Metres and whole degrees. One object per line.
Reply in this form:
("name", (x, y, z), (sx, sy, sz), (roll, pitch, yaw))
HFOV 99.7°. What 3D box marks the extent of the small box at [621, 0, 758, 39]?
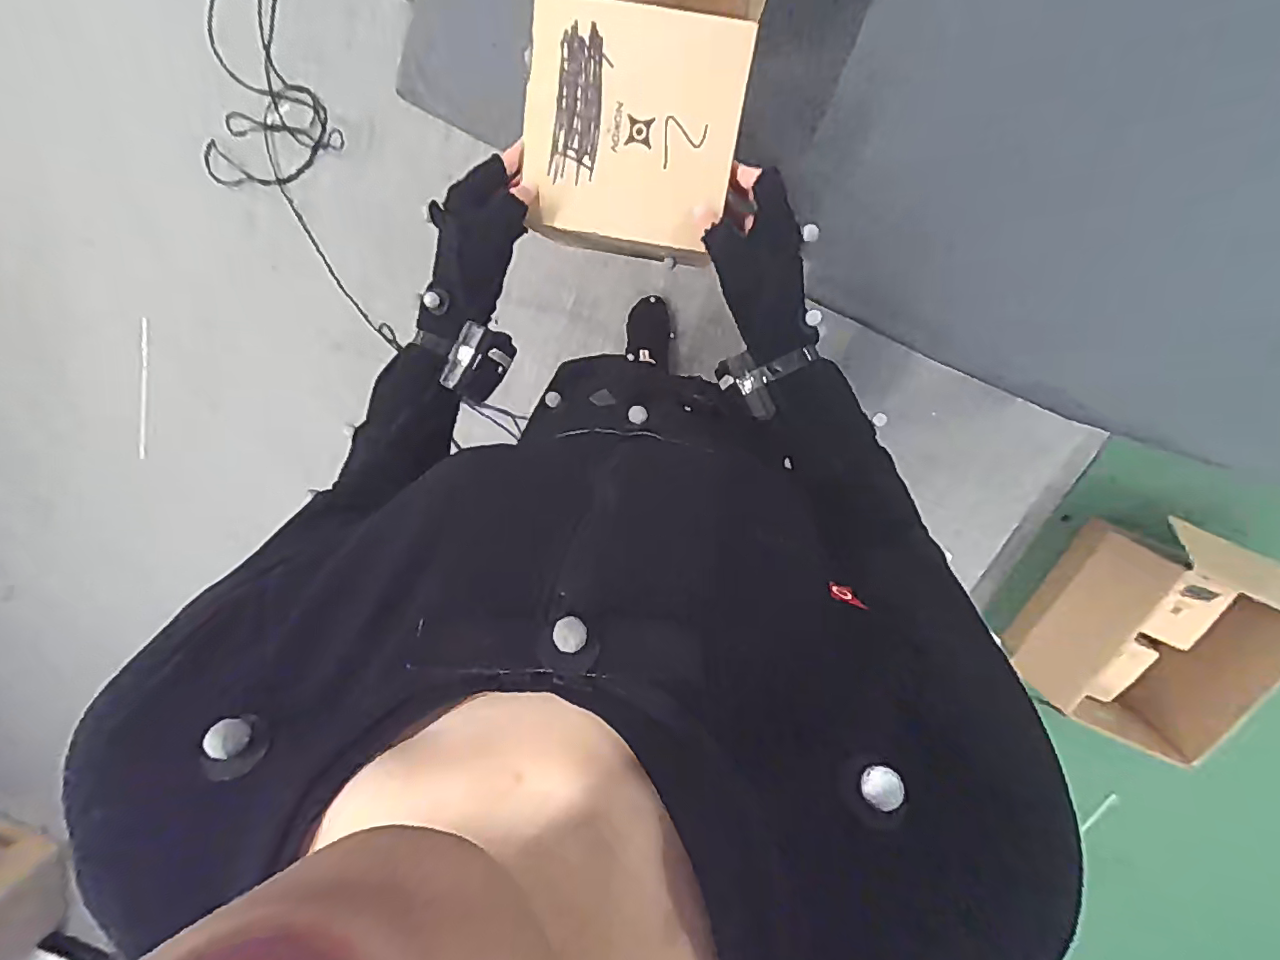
("small box", (0.045, -0.524, 0.460), (0.179, 0.176, 0.168), (22, 110, 1))
